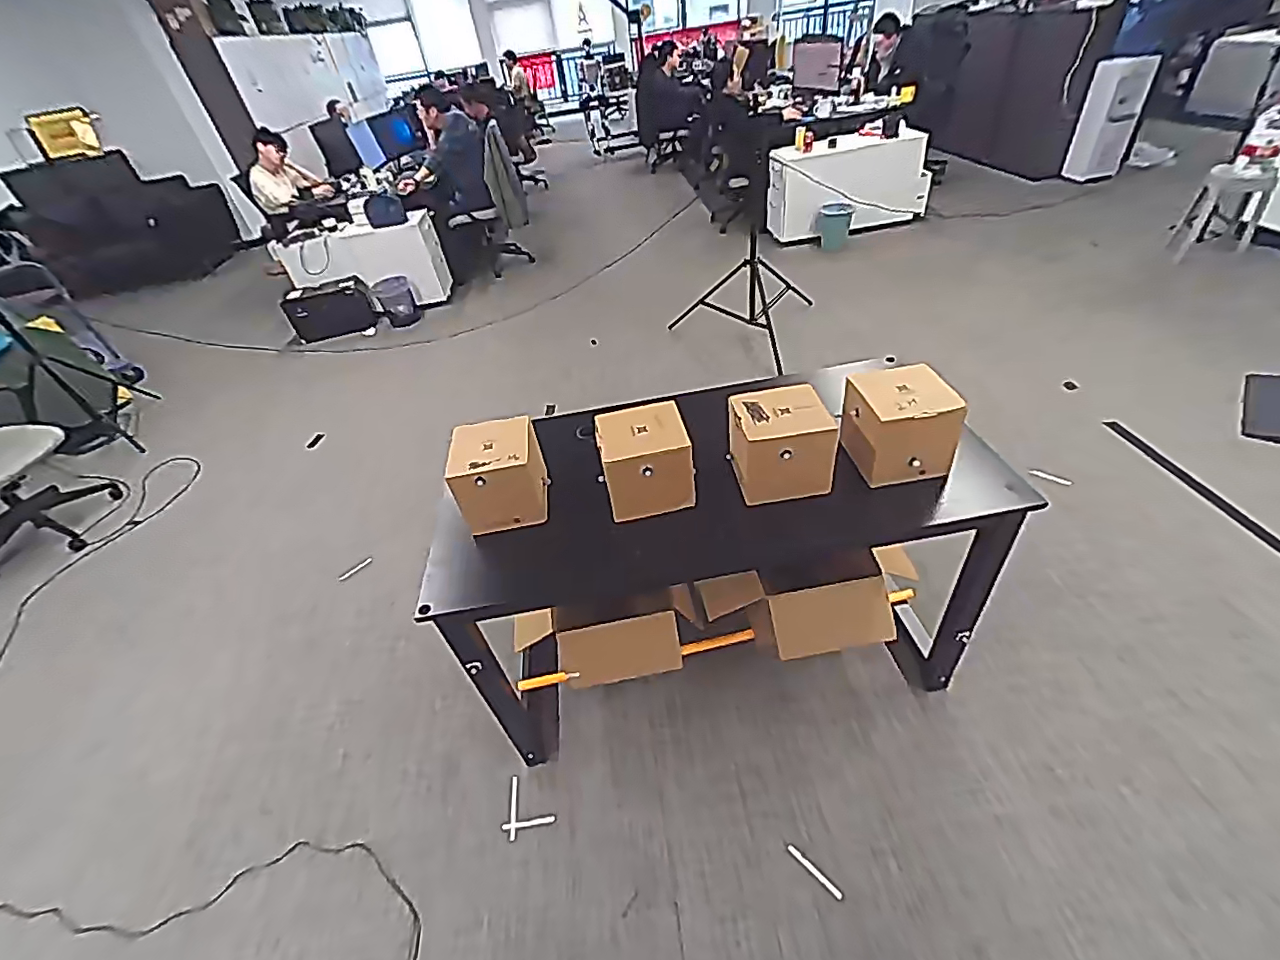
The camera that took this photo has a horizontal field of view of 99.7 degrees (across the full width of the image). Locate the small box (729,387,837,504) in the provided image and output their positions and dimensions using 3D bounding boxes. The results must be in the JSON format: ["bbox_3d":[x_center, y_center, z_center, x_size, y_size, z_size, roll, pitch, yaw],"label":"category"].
[{"bbox_3d":[0.288,-0.068,1.116,0.179,0.176,0.168,-8,40,1],"label":"small box"}]

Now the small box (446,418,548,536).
[{"bbox_3d":[-0.298,-0.007,1.164,0.168,0.176,0.179,-10,40,-1],"label":"small box"}]

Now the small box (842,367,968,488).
[{"bbox_3d":[0.530,-0.108,1.113,0.168,0.176,0.179,-10,40,2],"label":"small box"}]

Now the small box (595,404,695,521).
[{"bbox_3d":[0.011,-0.034,1.137,0.179,0.176,0.168,-11,41,-3],"label":"small box"}]
